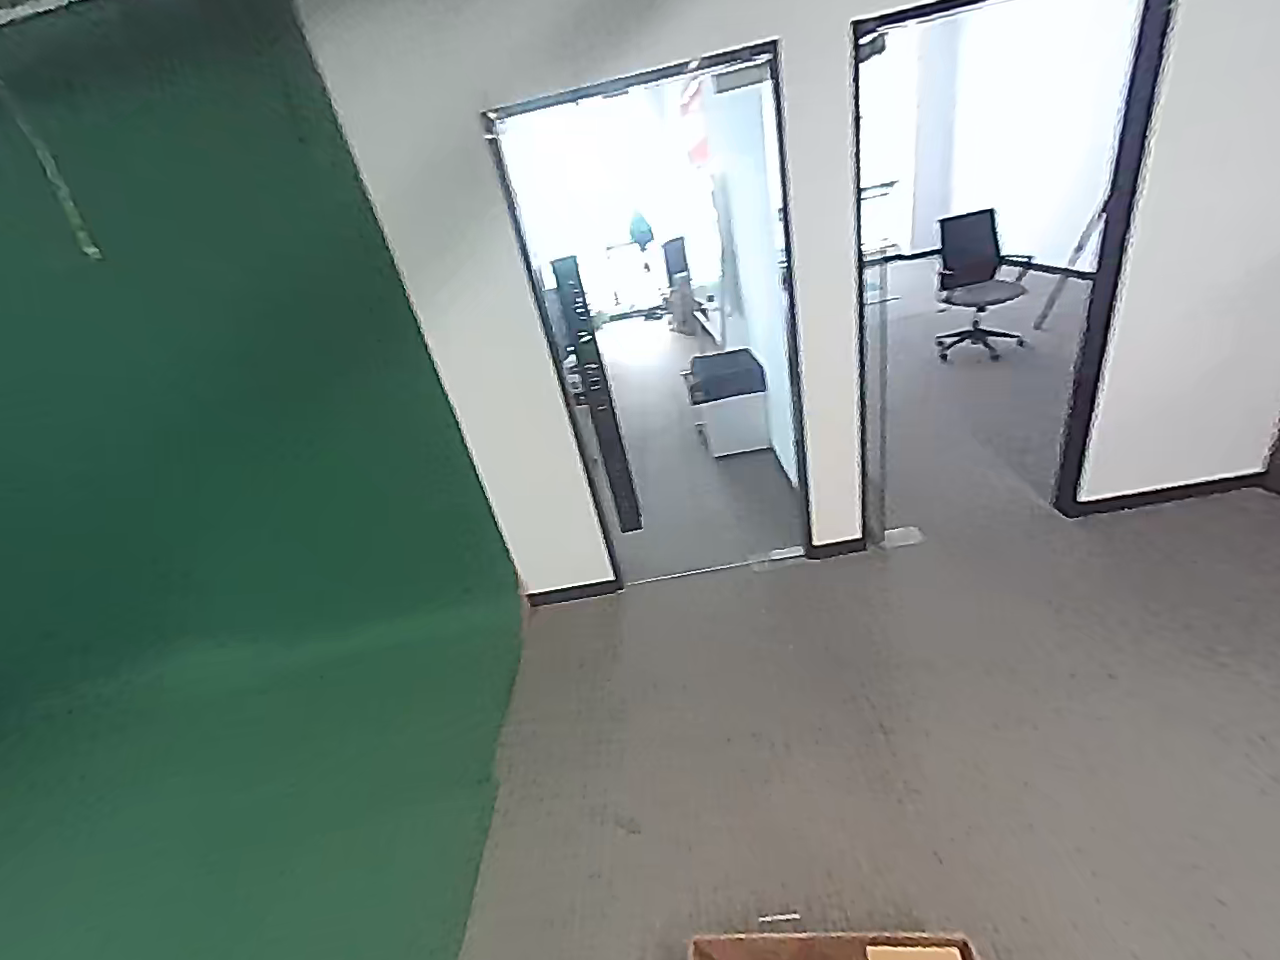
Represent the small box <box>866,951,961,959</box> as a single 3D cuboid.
[{"bbox_3d":[0.514,0.990,0.964,0.168,0.176,0.179,-8,26,12],"label":"small box"}]
